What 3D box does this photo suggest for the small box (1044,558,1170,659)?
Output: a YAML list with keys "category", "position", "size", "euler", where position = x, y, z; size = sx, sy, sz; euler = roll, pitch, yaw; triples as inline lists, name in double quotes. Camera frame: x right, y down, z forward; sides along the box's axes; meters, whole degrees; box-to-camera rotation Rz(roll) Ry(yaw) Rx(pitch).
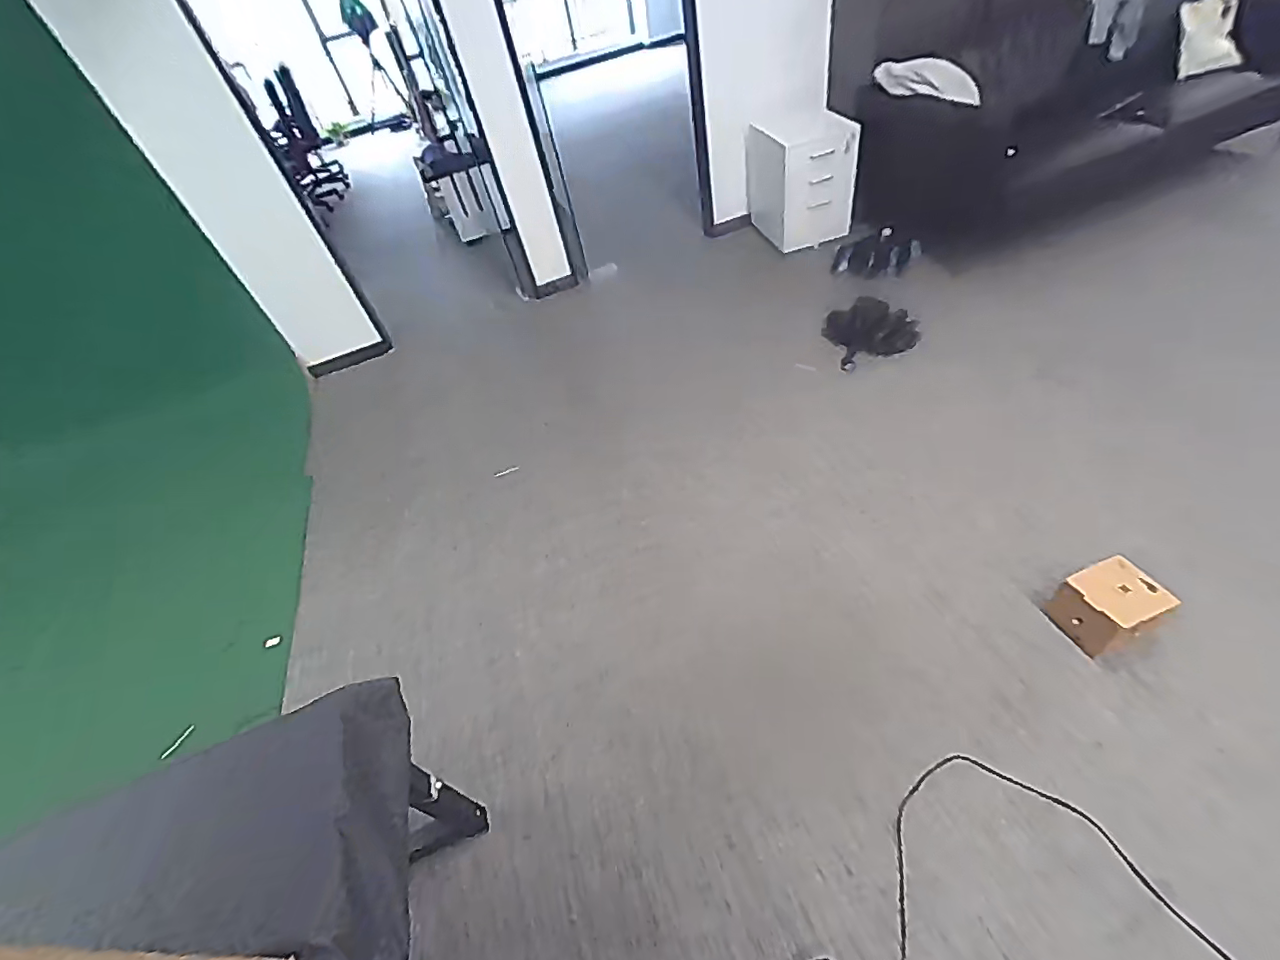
- category: "small box"
  position: [1.223, 0.344, 1.436]
  size: [0.179, 0.176, 0.168]
  euler: [-22, 45, -6]
